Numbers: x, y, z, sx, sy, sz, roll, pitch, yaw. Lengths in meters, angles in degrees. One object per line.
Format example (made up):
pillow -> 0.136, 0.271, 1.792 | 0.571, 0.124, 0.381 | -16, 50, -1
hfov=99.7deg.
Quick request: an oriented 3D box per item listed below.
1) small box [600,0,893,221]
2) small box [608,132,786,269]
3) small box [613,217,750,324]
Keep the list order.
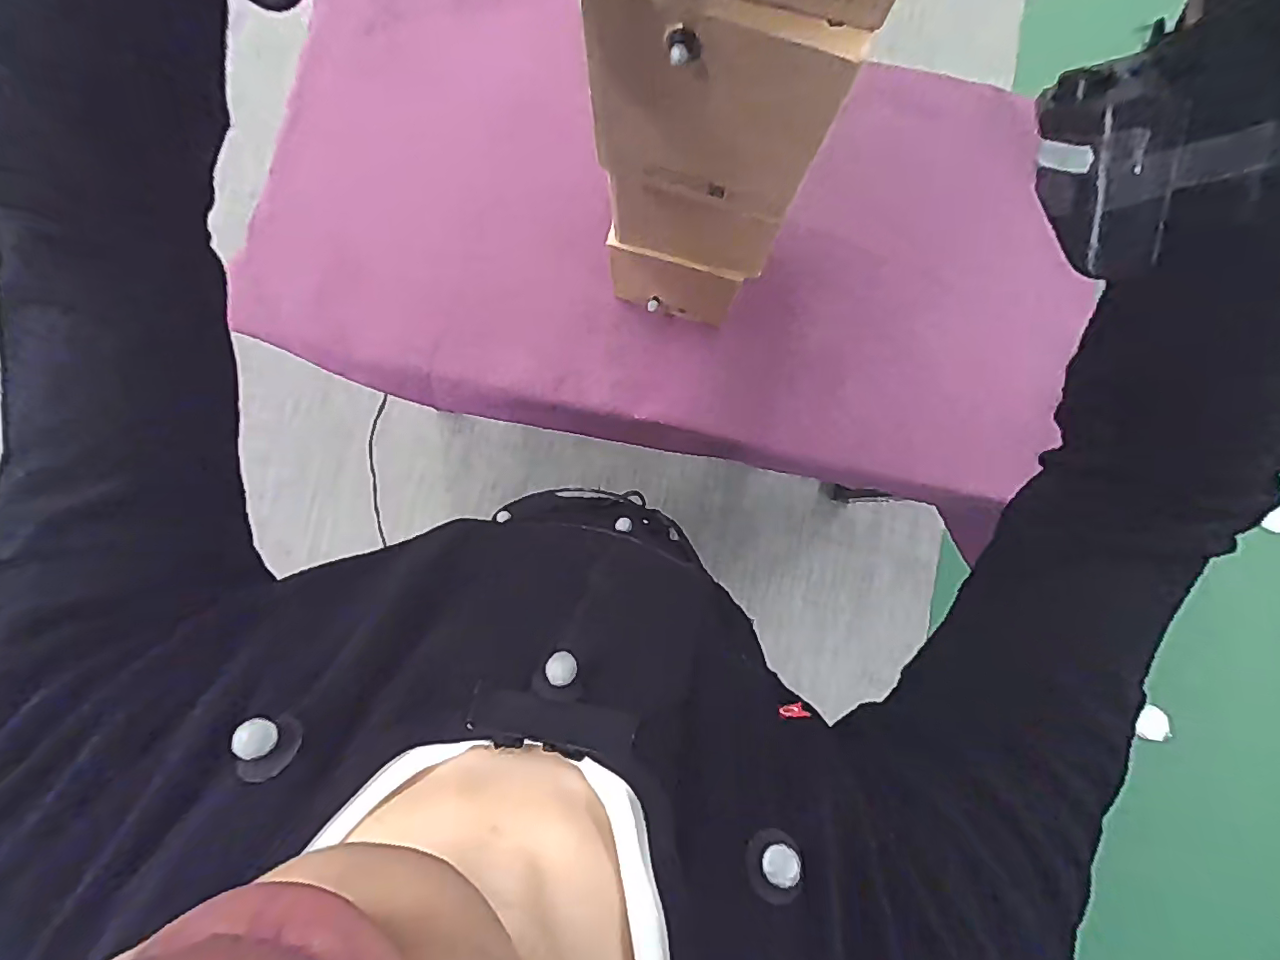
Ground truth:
small box -> 0.072, -0.323, 0.376 | 0.168, 0.176, 0.179 | 18, 86, 1
small box -> 0.076, -0.337, 0.541 | 0.179, 0.176, 0.168 | 15, 87, 0
small box -> 0.068, -0.329, 0.702 | 0.168, 0.176, 0.179 | 16, 88, 1
